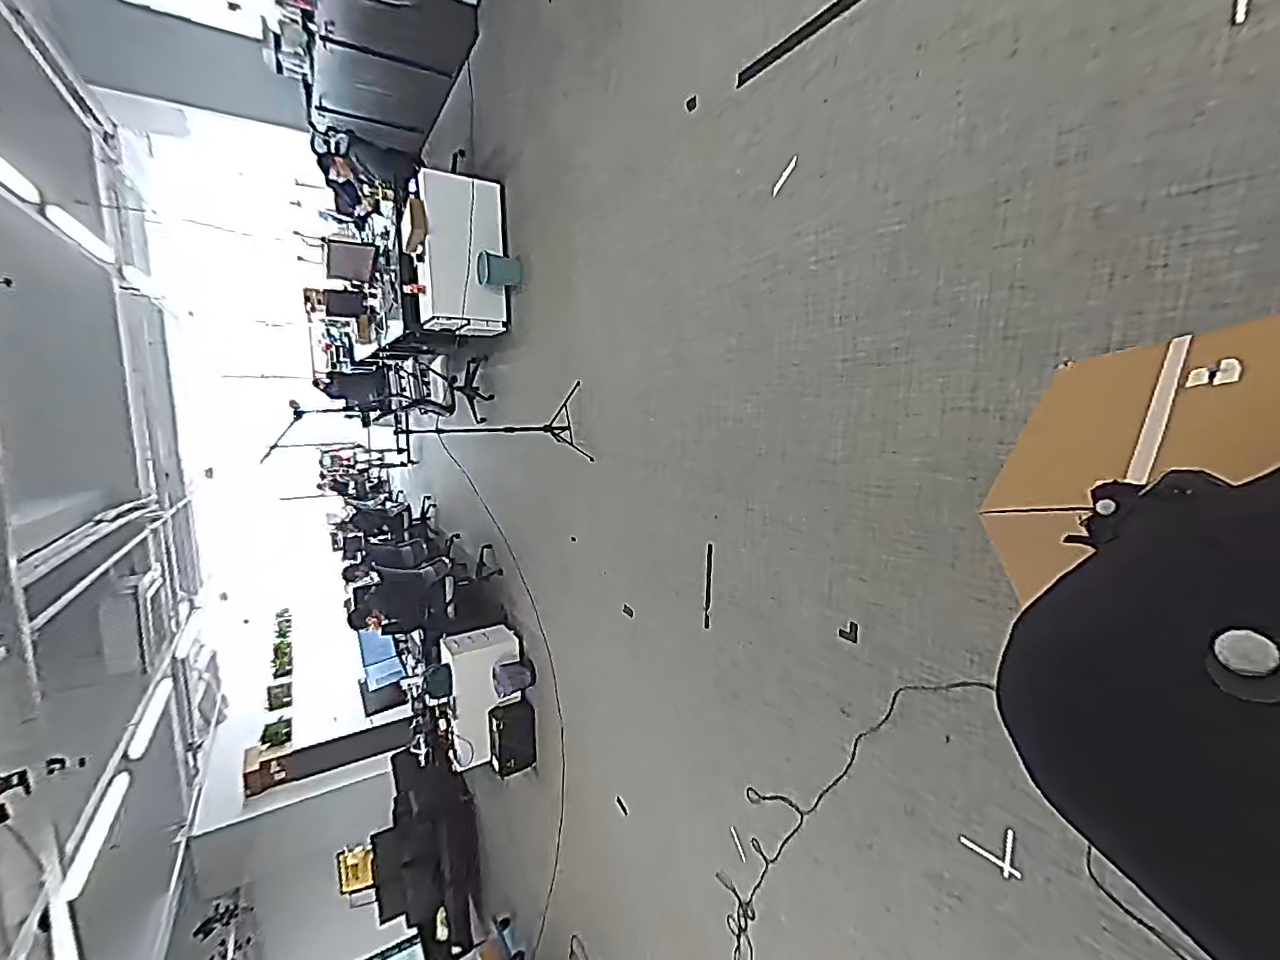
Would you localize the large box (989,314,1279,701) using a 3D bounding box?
[{"bbox_3d":[0.753,0.029,0.735,0.320,0.408,0.320,-7,120,56],"label":"large box"}]
